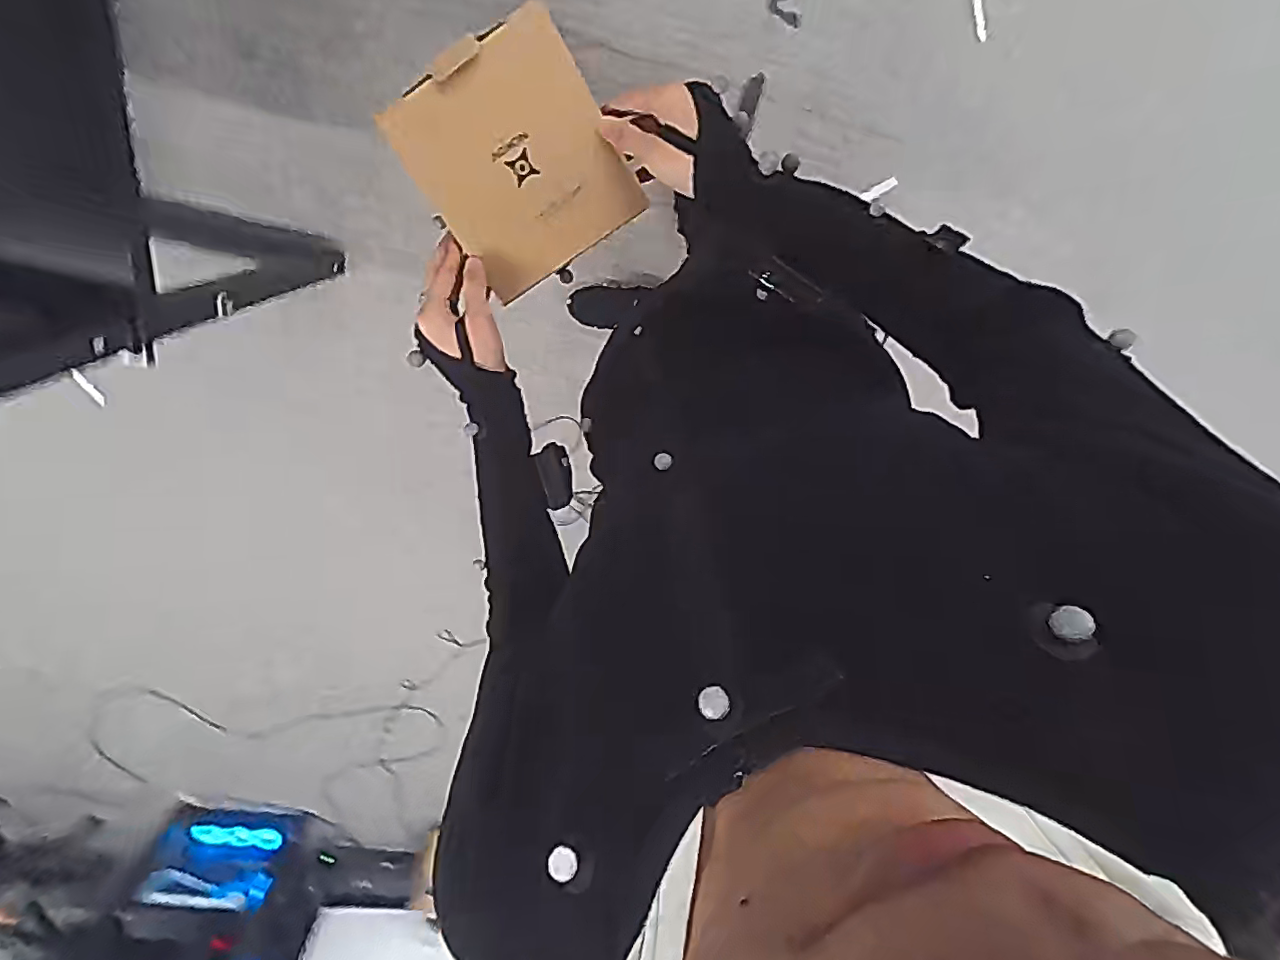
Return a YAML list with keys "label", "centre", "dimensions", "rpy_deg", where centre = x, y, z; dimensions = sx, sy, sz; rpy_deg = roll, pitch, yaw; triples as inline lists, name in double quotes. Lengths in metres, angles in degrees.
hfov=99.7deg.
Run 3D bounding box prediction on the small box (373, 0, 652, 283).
- label: "small box"
  centre: [-0.111, -0.308, 0.521]
  dimensions: [0.168, 0.176, 0.179]
  rpy_deg: [-31, 112, 3]
